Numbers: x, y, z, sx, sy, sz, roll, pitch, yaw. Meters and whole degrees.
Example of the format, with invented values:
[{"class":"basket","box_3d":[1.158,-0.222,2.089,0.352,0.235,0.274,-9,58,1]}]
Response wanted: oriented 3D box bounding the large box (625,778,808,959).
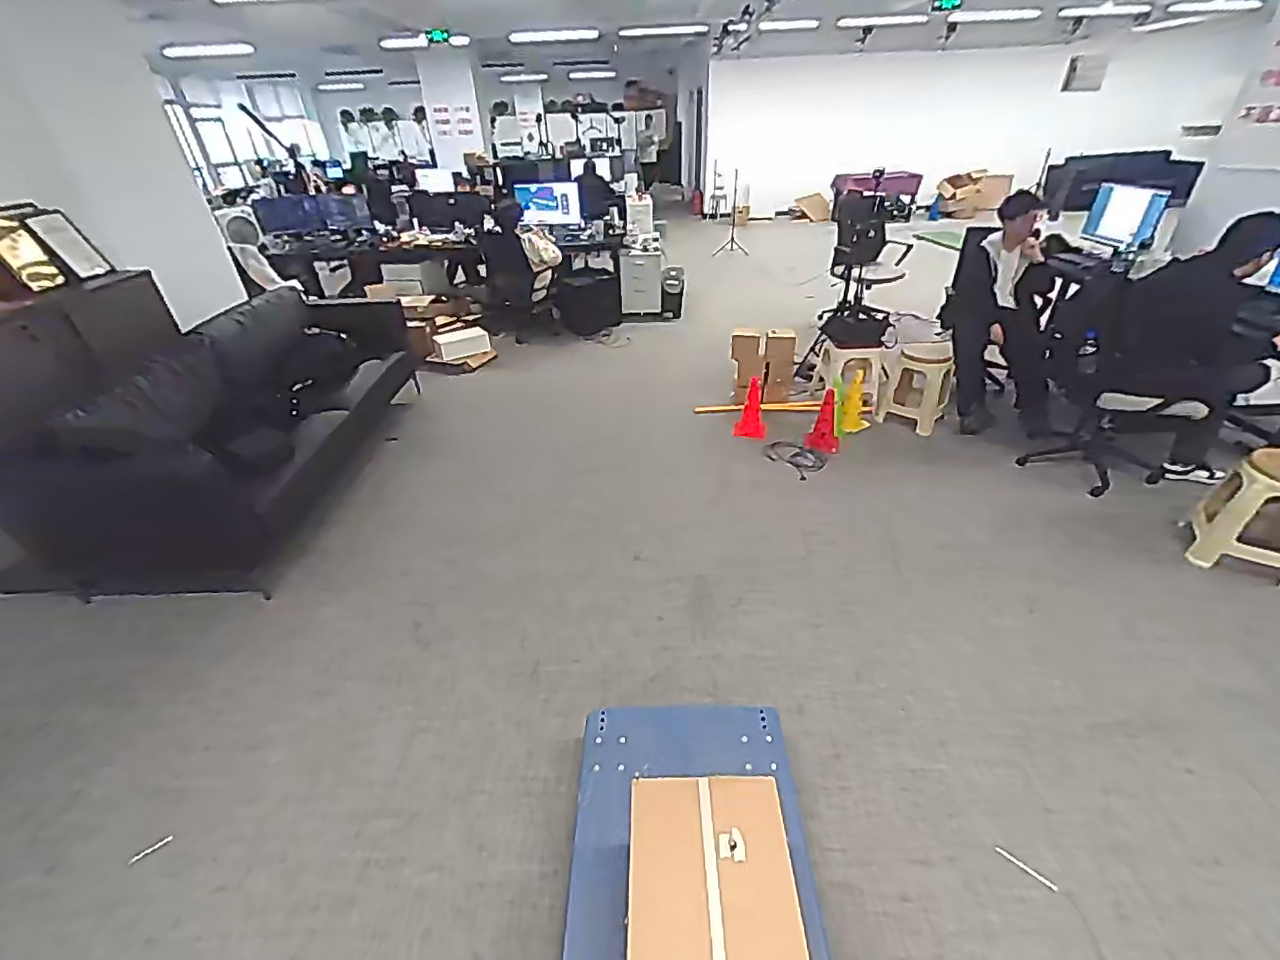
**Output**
[{"class":"large box","box_3d":[0.138,0.889,1.091,0.320,0.320,0.408,-1,32,1]}]
